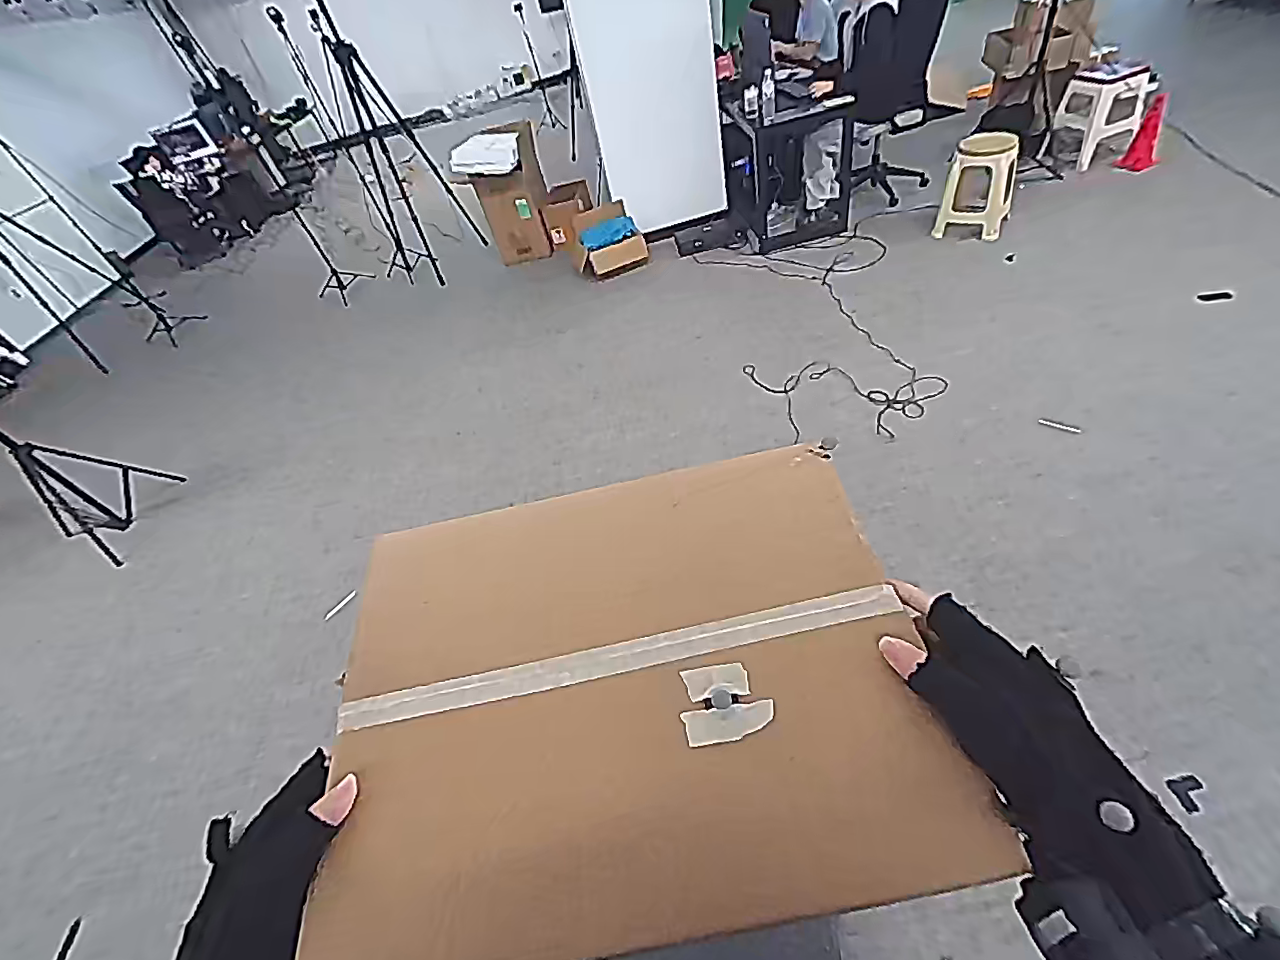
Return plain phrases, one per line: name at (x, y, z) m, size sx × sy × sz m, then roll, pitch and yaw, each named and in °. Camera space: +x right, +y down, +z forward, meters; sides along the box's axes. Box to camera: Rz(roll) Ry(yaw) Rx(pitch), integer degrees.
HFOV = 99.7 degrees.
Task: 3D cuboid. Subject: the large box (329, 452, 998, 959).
large box at (0.009, 0.224, 0.515) m, size 0.408 × 0.320 × 0.320 m, roll -12°, pitch 52°, yaw 1°
